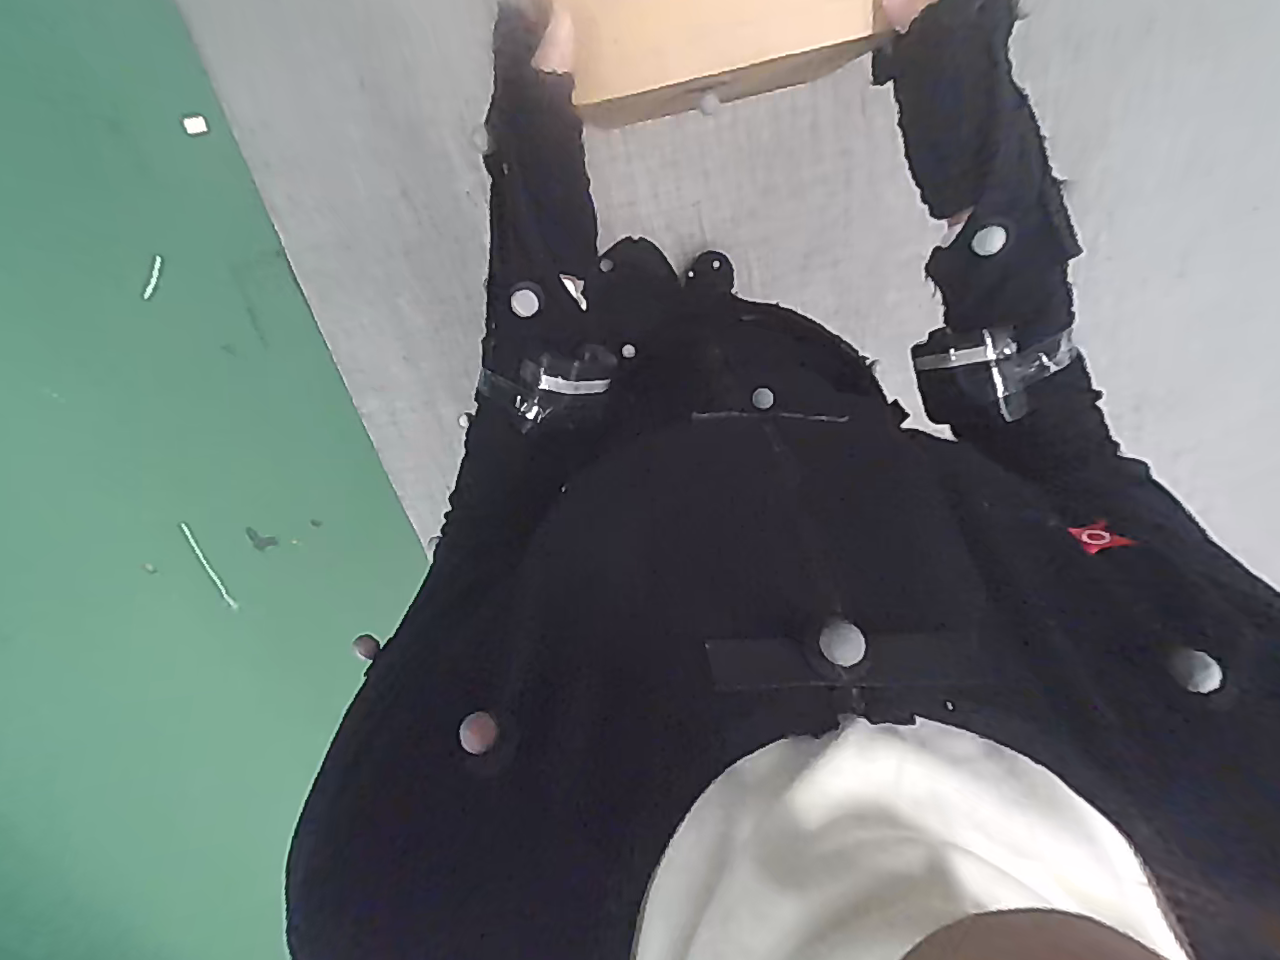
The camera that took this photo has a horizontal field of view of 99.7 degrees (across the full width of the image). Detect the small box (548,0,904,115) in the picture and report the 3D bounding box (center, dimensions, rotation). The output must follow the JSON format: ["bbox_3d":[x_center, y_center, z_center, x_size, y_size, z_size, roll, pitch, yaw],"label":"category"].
[{"bbox_3d":[0.034,-0.325,0.306,0.179,0.176,0.168,-9,119,6],"label":"small box"}]
